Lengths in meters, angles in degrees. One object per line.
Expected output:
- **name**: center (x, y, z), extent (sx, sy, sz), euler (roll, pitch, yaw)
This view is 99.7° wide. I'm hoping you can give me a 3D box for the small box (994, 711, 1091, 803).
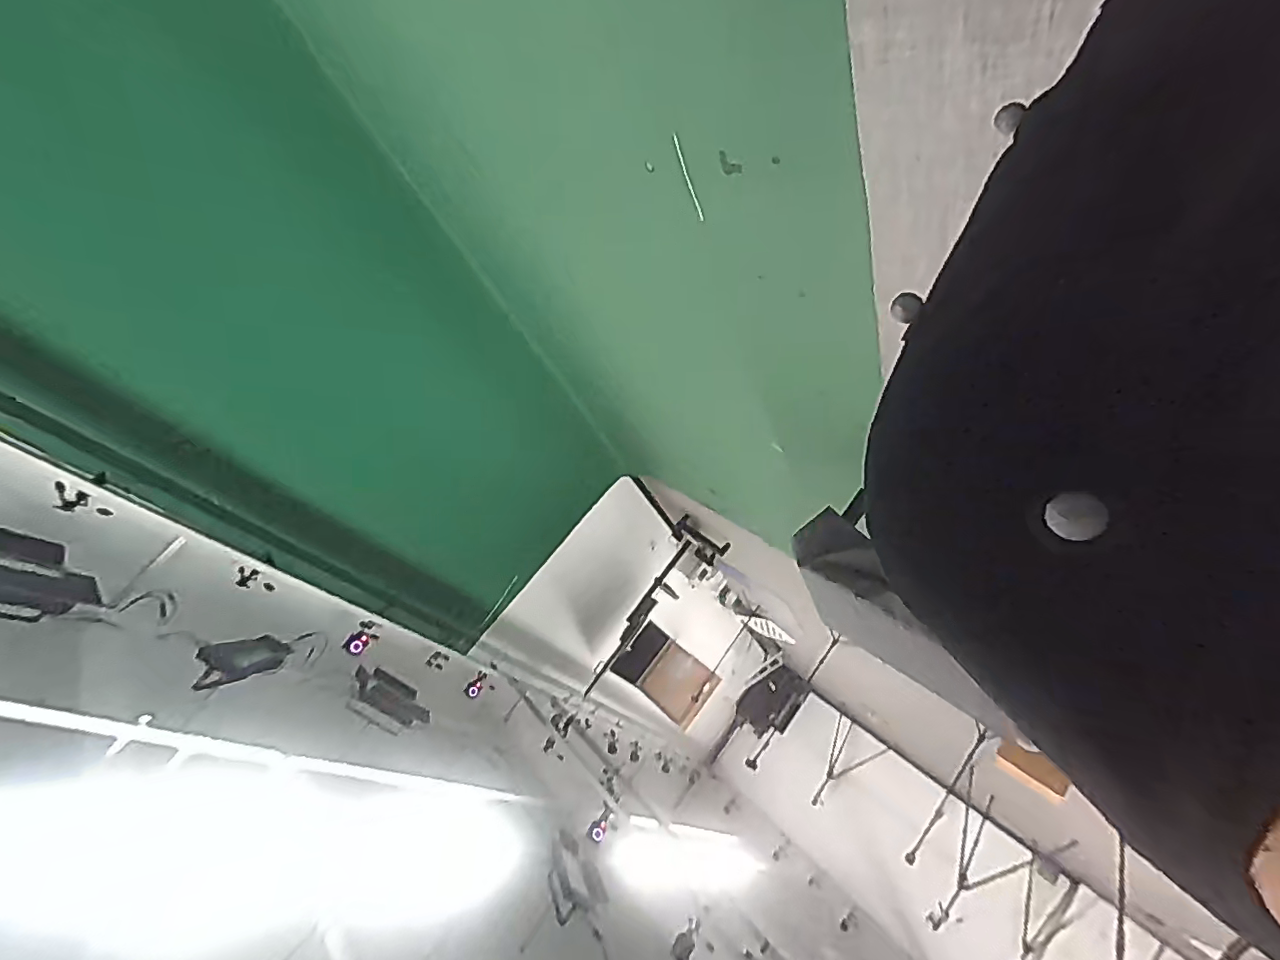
- **small box**: center (1.179, 0.806, 1.592), extent (0.179, 0.176, 0.168), euler (28, 164, 43)
